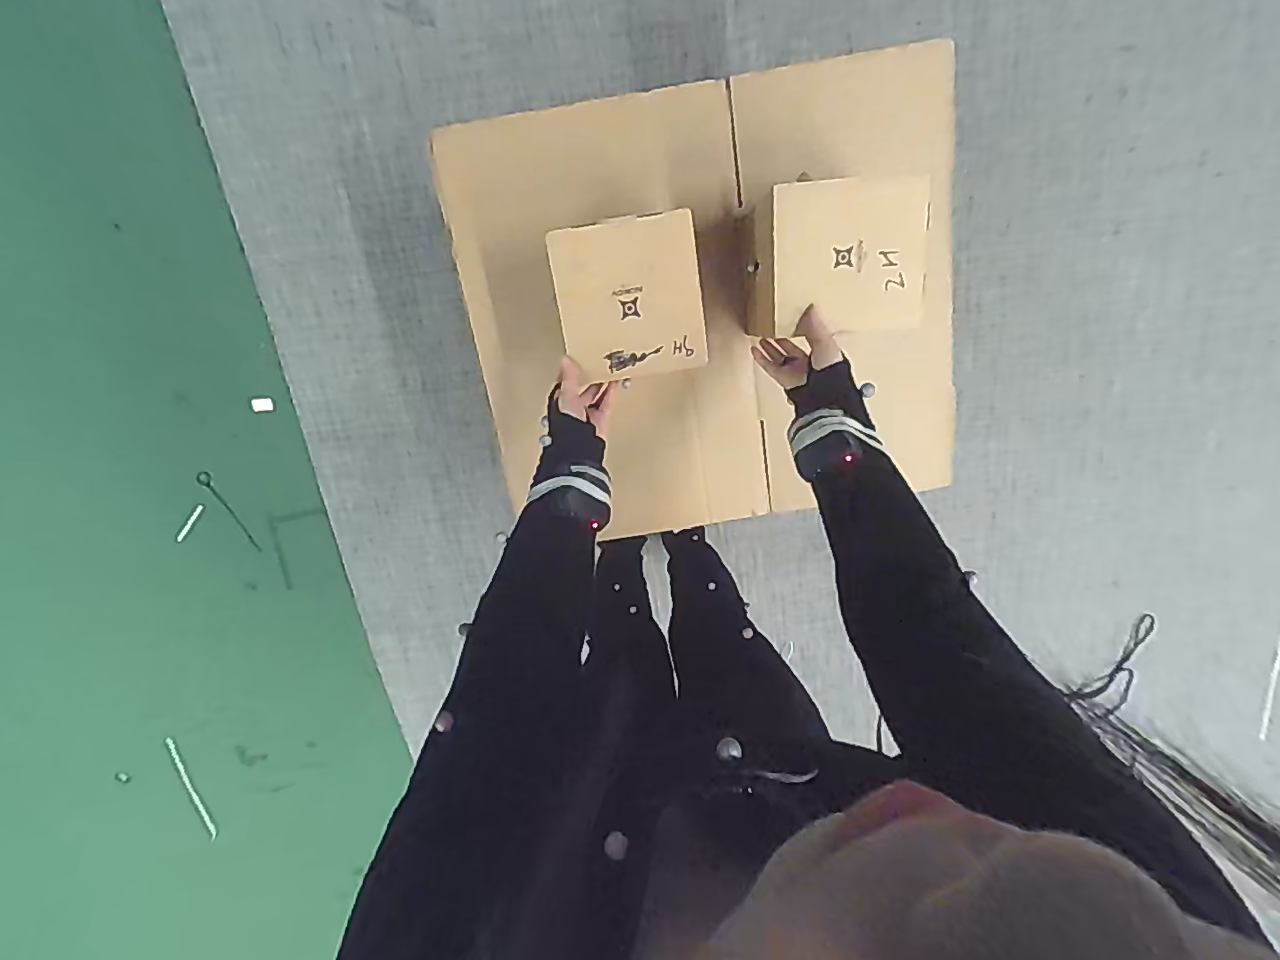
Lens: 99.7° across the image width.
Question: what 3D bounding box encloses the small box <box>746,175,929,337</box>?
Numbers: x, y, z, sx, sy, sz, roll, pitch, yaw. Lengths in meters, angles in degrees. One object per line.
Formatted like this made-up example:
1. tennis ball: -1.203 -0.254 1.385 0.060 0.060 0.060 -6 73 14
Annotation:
1. small box: 0.233 -0.270 0.686 0.179 0.176 0.168 -3 106 1

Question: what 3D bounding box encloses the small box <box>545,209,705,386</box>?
1. small box: -0.014 -0.223 0.693 0.168 0.176 0.179 -8 104 3
